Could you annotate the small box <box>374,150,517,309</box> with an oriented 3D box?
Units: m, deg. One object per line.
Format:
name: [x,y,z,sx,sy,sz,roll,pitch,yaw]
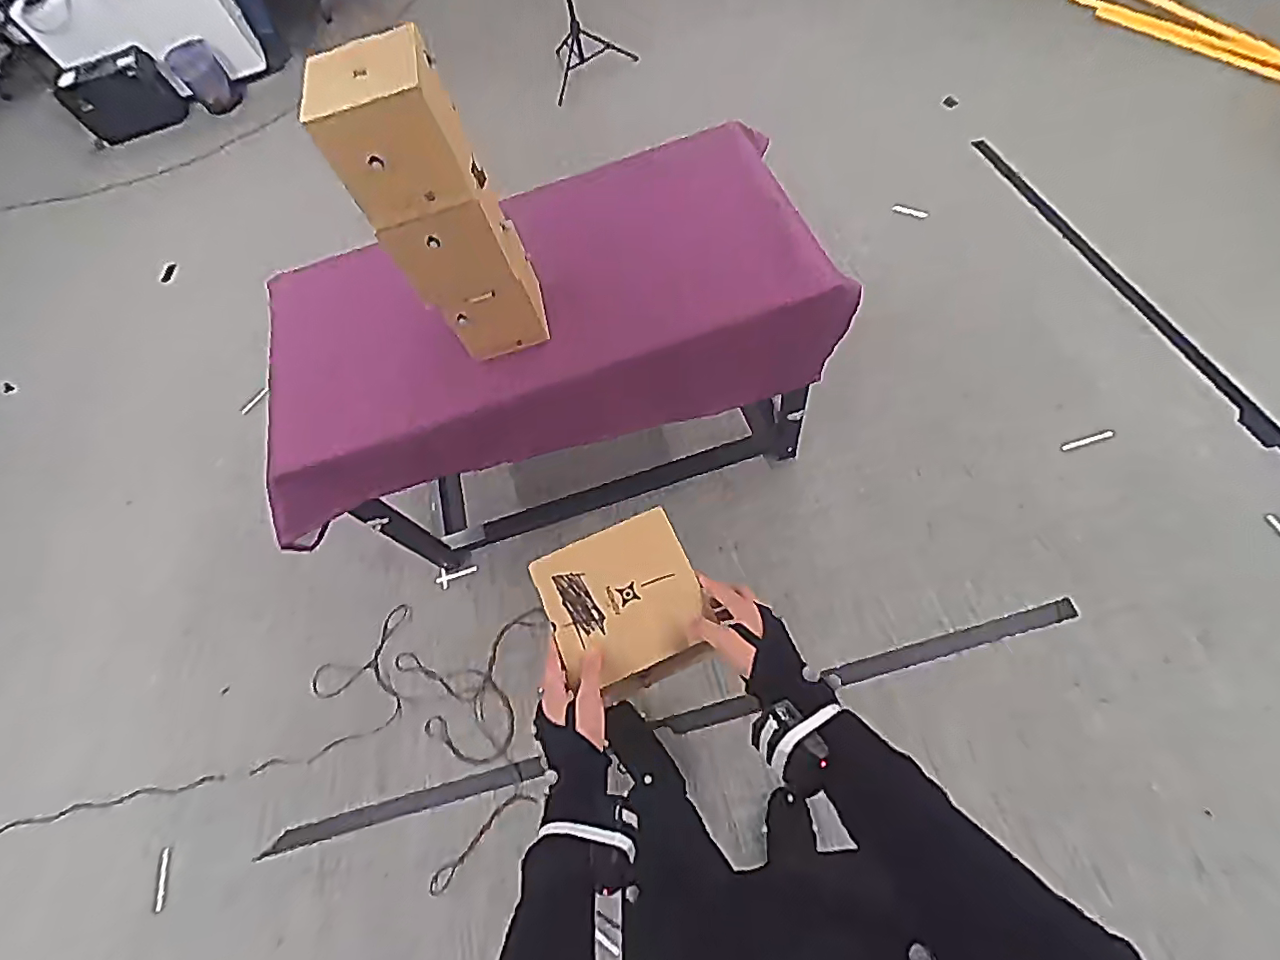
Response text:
small box: [-0.335,-0.428,0.946,0.179,0.176,0.168,-16,62,2]

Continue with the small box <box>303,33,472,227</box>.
small box: [-0.364,-0.506,0.806,0.168,0.176,0.179,-17,61,2]

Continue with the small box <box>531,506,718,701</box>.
small box: [-0.012,0.164,0.685,0.179,0.176,0.168,-23,64,-5]
